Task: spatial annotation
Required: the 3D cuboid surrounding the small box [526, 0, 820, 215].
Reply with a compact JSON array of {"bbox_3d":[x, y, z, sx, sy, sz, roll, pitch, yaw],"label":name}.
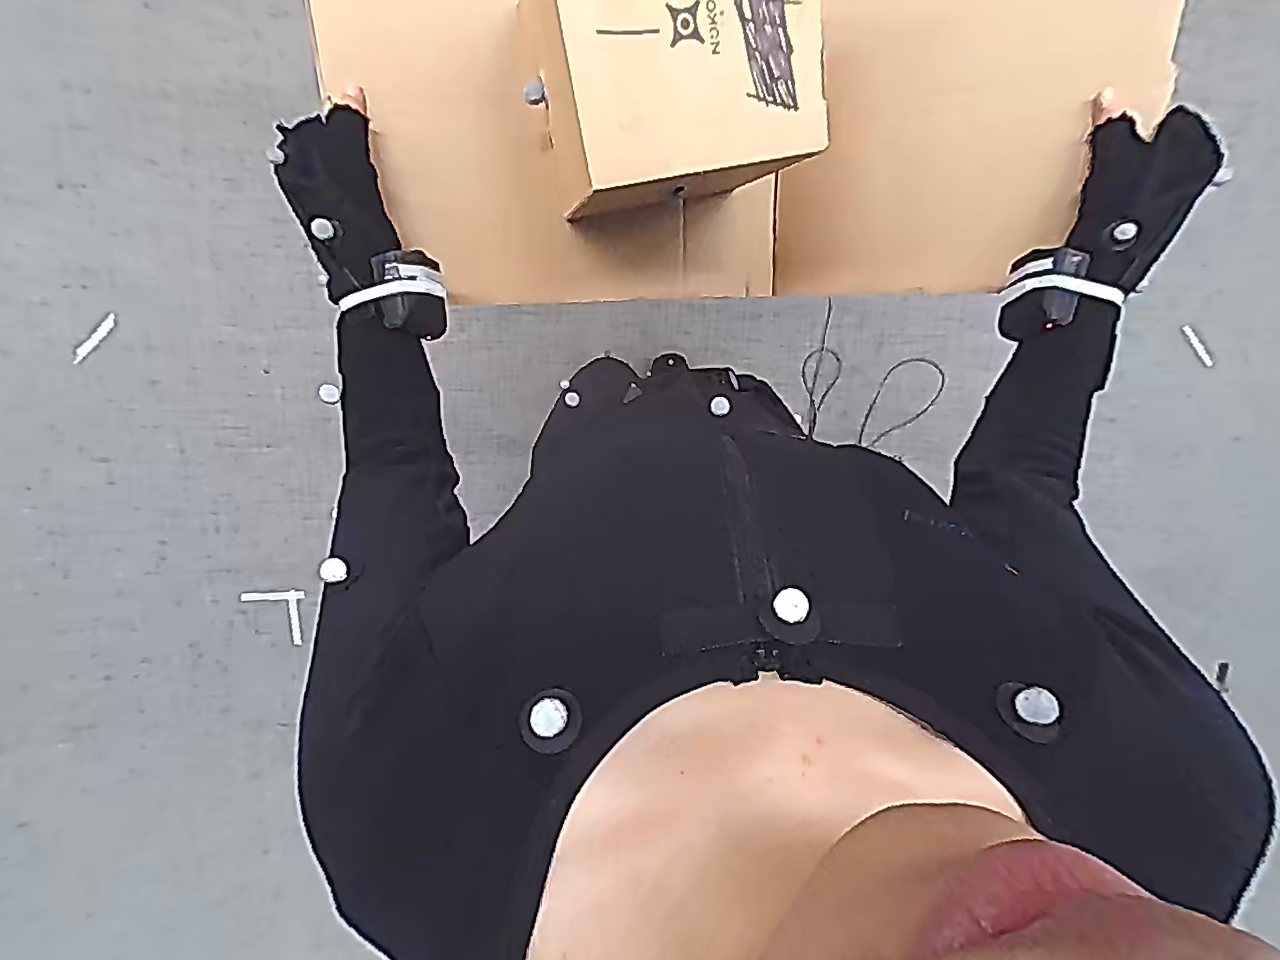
[{"bbox_3d":[0.017,-0.318,0.424,0.179,0.176,0.168,-15,112,-9],"label":"small box"}]
